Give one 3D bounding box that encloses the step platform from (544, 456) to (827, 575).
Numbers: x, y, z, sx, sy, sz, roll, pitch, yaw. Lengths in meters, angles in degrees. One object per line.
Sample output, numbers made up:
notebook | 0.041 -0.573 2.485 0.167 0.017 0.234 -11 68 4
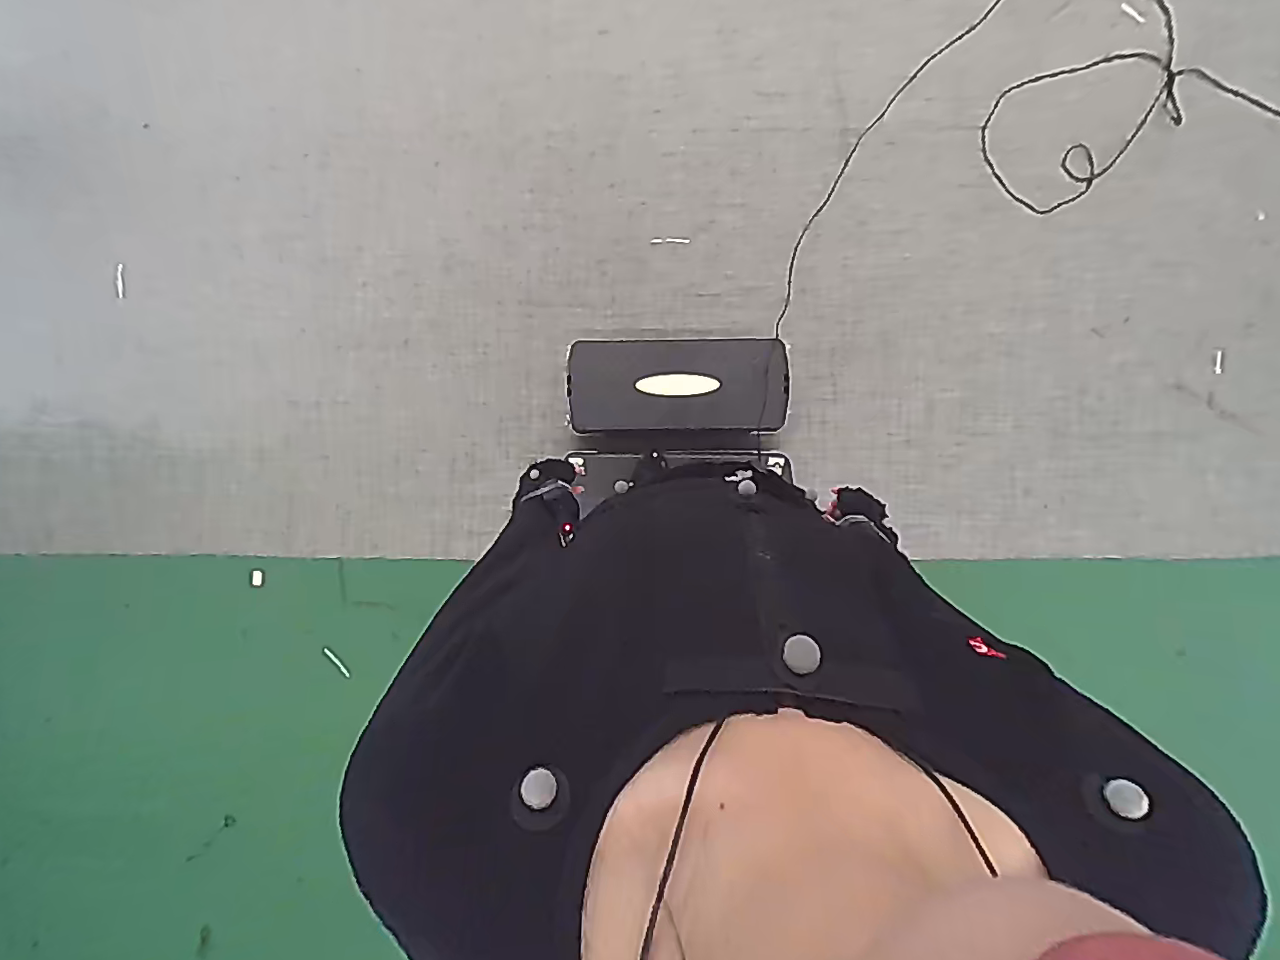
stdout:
step platform | 0.108 0.084 1.391 0.684 0.204 0.286 0 91 0
